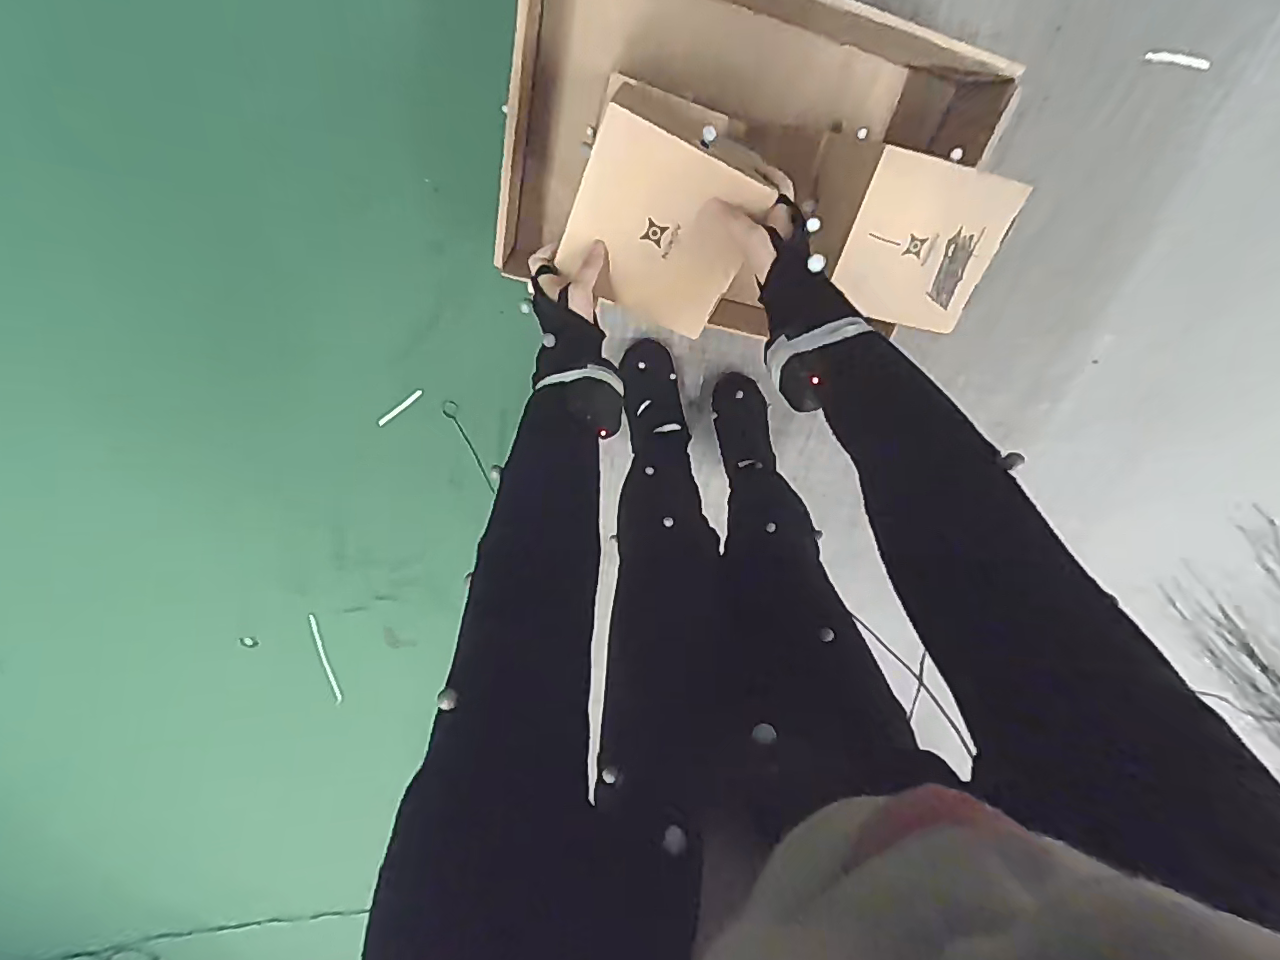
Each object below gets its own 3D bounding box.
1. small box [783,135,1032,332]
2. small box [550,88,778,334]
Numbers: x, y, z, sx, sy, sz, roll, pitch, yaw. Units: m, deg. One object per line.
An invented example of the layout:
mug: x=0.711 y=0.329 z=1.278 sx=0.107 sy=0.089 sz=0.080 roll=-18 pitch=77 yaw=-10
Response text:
small box: x=0.300 y=-0.300 z=0.650 sx=0.179 sy=0.176 sz=0.168 roll=8 pitch=125 yaw=-10
small box: x=0.019 y=-0.296 z=0.591 sx=0.179 sy=0.176 sz=0.168 roll=20 pitch=129 yaw=-16
